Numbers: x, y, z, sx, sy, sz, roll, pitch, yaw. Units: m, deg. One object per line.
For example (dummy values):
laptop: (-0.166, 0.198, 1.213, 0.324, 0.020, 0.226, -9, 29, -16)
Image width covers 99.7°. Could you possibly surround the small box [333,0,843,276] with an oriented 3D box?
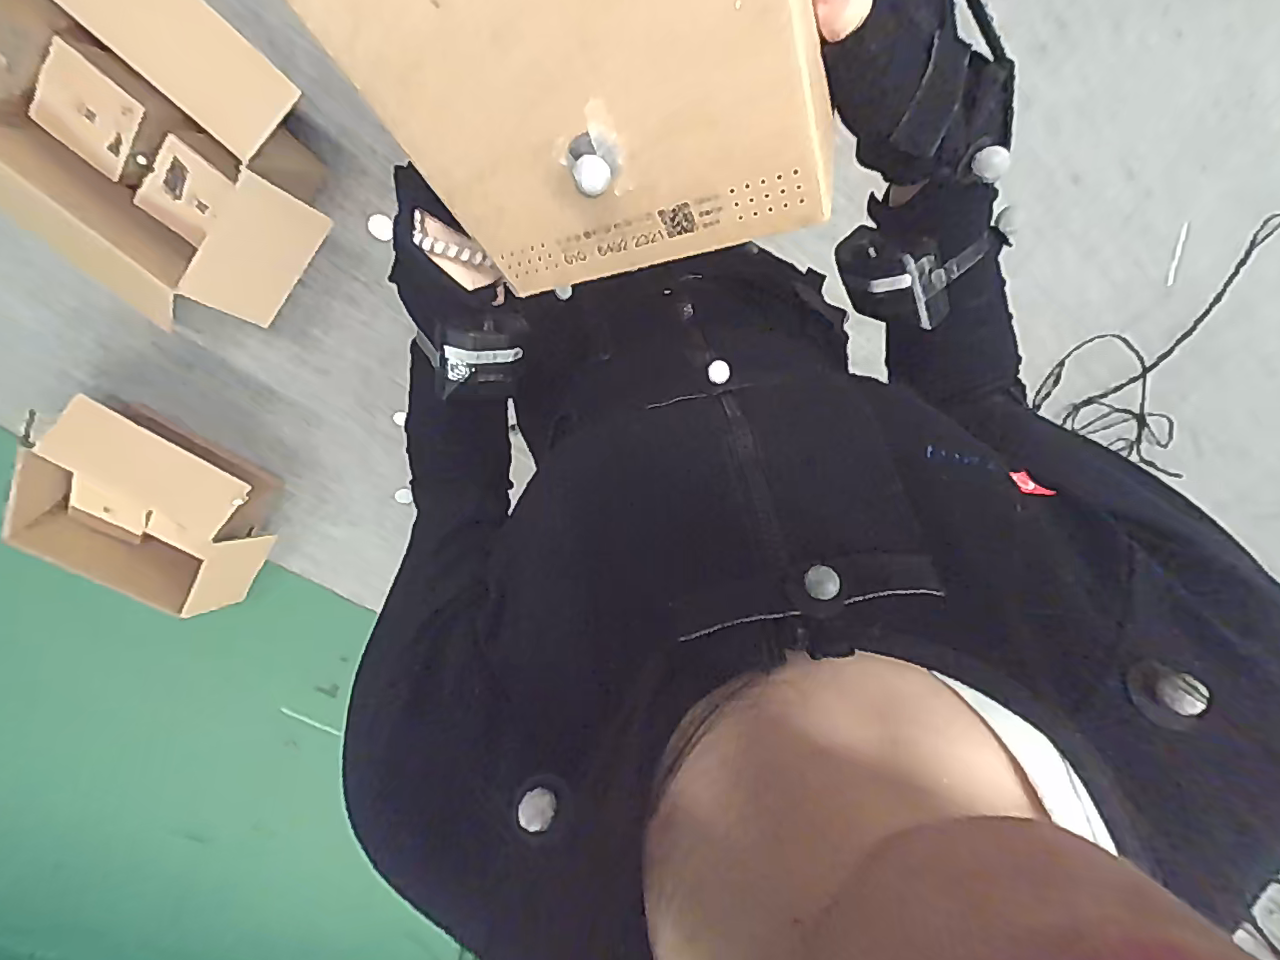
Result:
small box: (-0.011, -0.222, 0.231, 0.168, 0.179, 0.176, -2, 151, 27)
